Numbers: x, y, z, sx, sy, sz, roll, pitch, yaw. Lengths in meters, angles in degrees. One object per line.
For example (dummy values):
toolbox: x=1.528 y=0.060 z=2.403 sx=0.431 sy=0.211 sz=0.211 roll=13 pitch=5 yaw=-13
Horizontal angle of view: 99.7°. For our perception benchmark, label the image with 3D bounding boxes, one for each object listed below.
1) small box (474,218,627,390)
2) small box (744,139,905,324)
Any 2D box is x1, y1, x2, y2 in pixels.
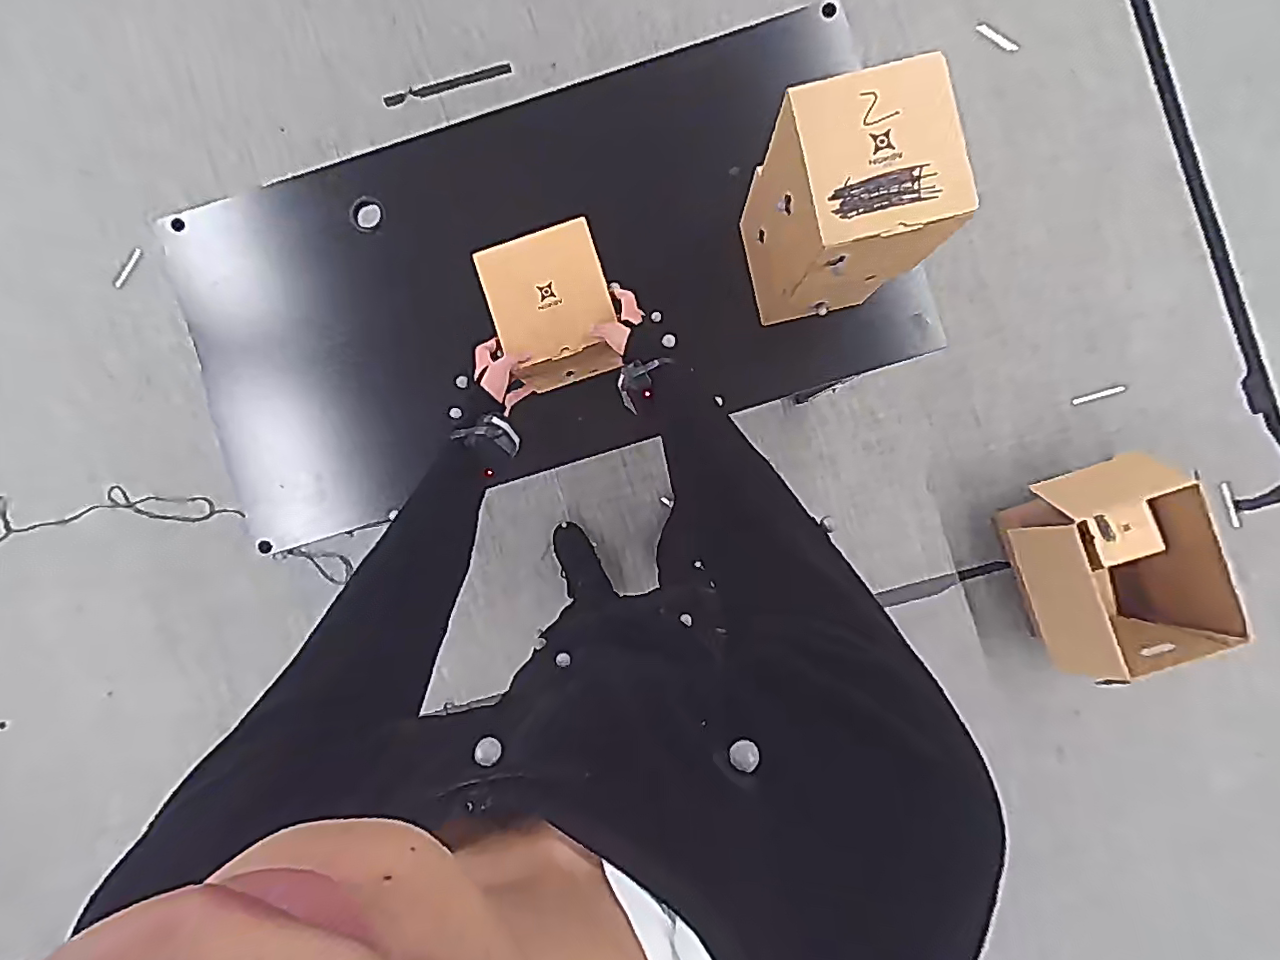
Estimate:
small box: x=-0.124 y=-0.251 z=0.814 sx=0.168 sy=0.176 sz=0.179 roll=-18 pitch=90 yaw=2
small box: x=0.258 y=-0.353 z=0.798 sx=0.168 sy=0.176 sz=0.179 roll=-12 pitch=90 yaw=3
